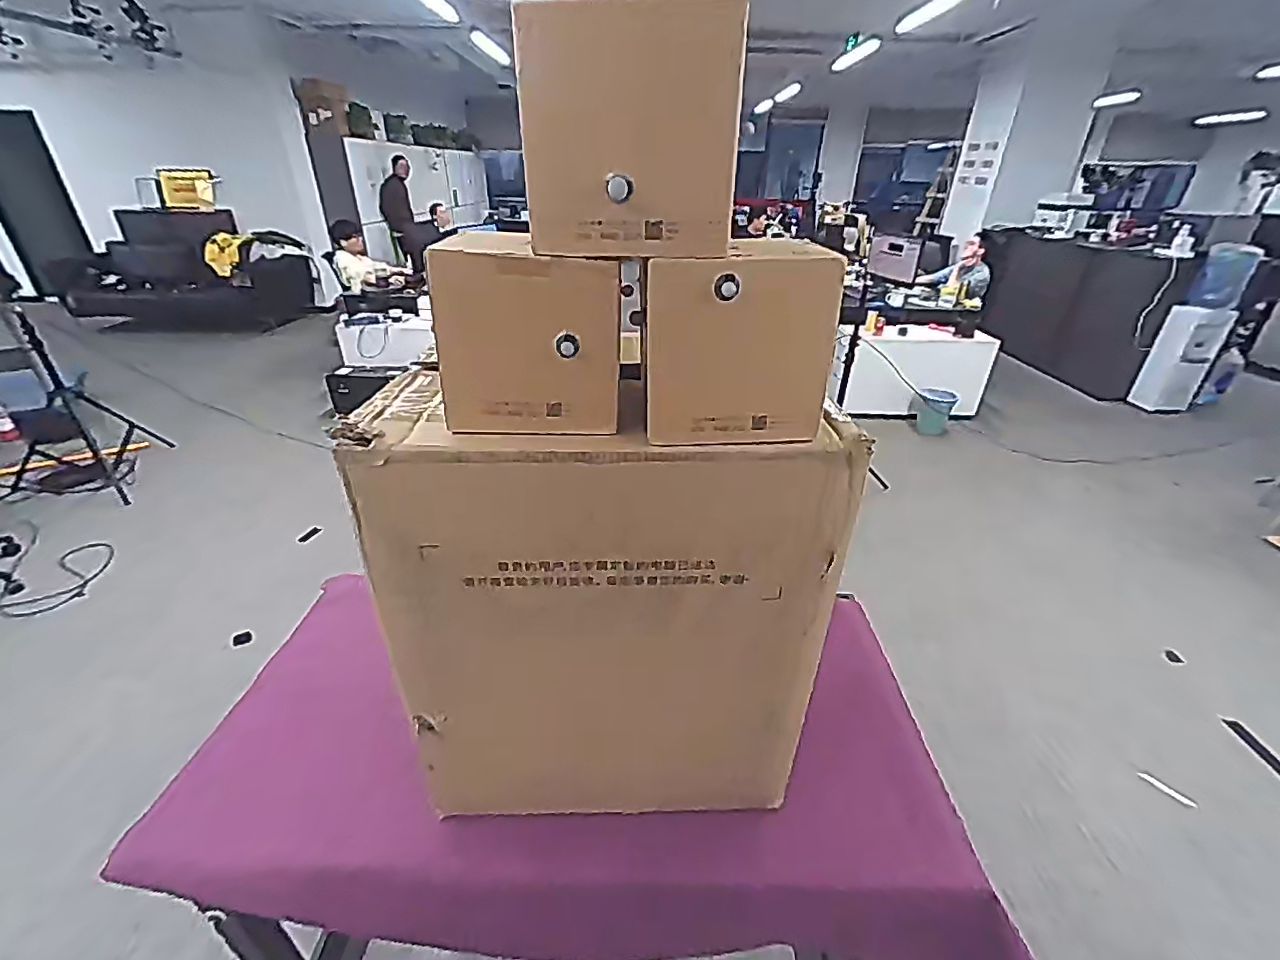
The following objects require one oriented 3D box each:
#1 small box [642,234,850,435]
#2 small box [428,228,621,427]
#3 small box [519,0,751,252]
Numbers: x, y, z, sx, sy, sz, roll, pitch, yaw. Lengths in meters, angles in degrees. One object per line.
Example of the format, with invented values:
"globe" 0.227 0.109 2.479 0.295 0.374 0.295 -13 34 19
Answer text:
"small box" 0.088 -0.154 0.550 0.168 0.176 0.179 -2 28 -2
"small box" -0.104 -0.162 0.562 0.168 0.176 0.179 1 27 -5
"small box" 0.003 -0.301 0.478 0.168 0.176 0.179 3 30 6
